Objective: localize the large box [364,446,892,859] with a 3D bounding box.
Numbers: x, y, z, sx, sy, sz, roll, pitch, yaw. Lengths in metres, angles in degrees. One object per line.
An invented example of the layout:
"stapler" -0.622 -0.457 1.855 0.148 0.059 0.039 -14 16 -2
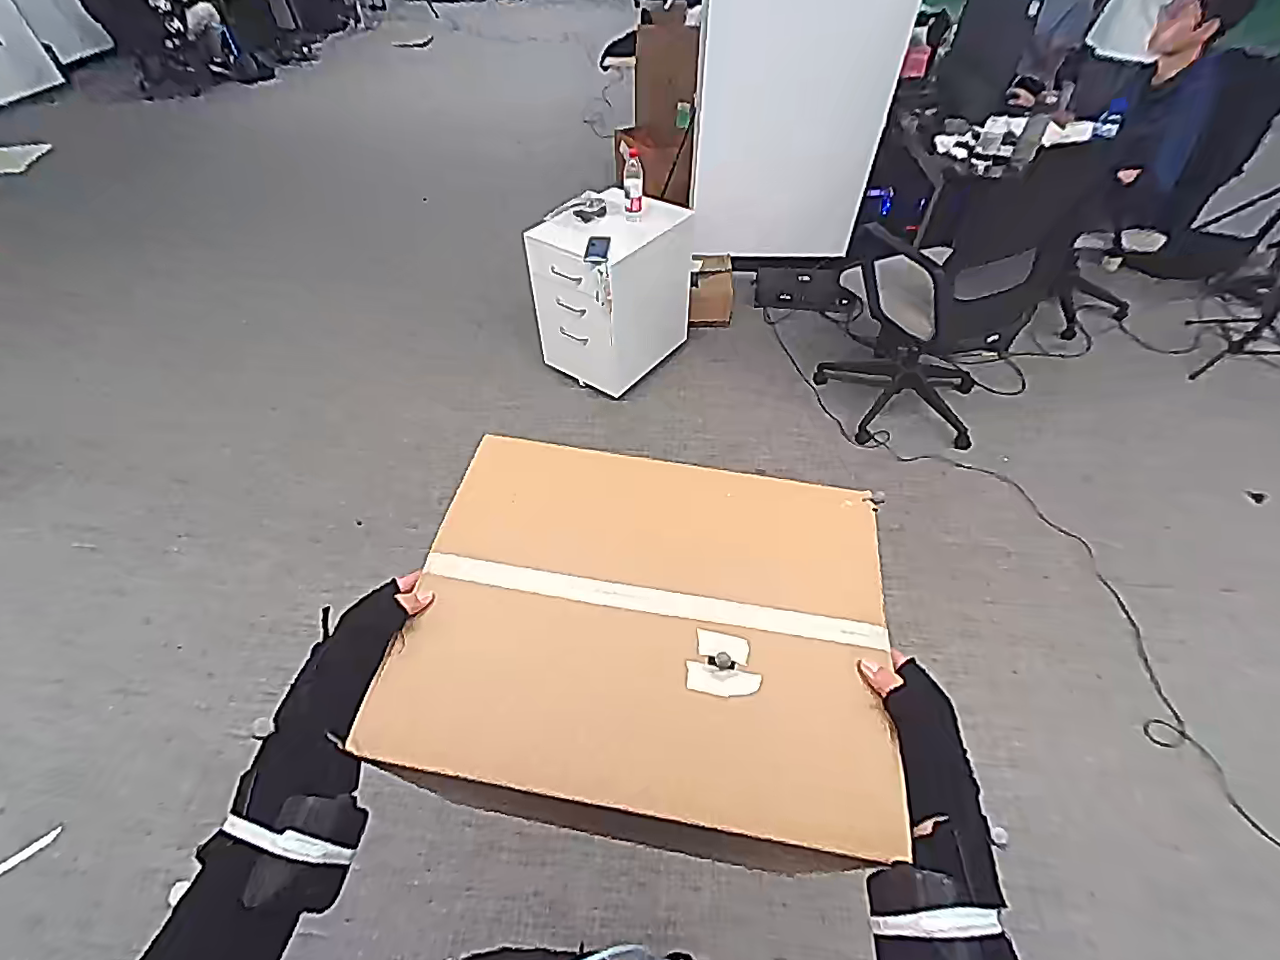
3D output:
"large box" 0.000 0.198 0.602 0.408 0.320 0.320 9 54 4
